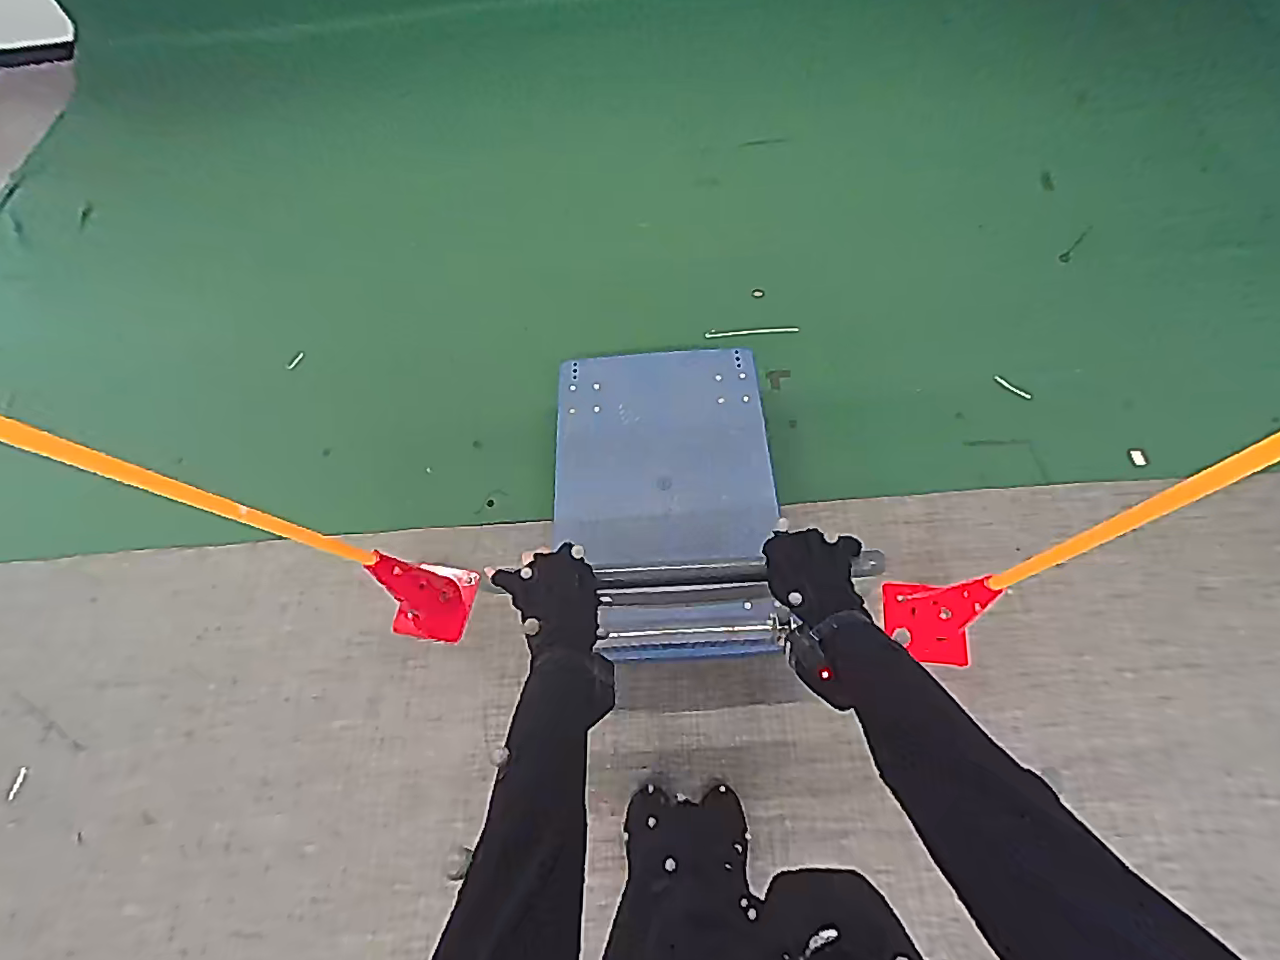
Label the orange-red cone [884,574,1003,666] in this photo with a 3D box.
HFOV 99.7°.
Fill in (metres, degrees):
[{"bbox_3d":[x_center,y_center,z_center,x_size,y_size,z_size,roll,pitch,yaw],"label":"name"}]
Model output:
[{"bbox_3d":[0.714,0.285,1.226,0.198,0.360,0.199,6,64,8],"label":"orange-red cone"}]
